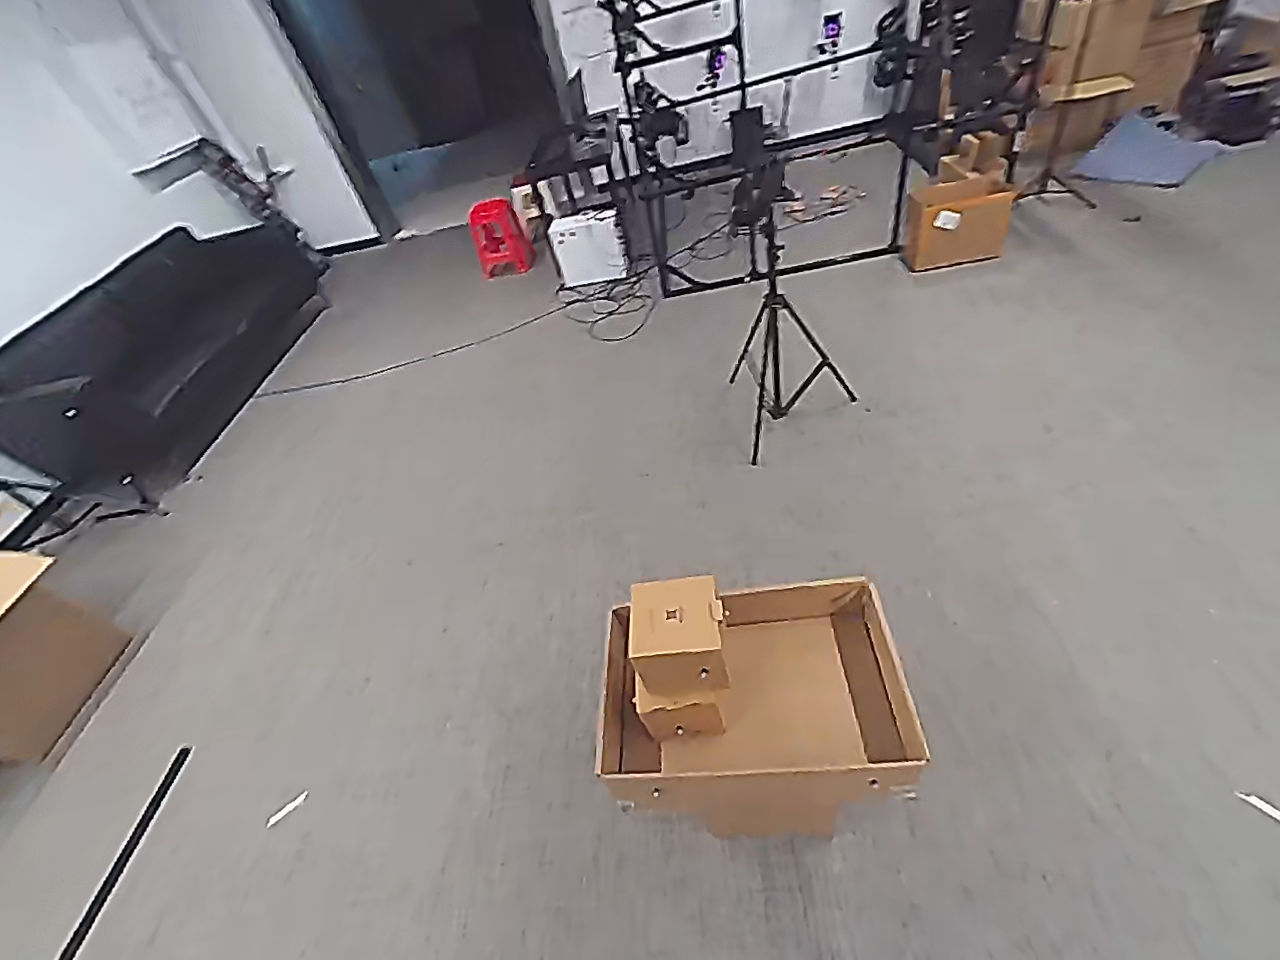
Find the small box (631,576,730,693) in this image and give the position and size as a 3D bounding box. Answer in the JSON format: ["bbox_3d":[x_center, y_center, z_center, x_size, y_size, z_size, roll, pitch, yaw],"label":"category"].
[{"bbox_3d":[0.086,0.315,1.093,0.179,0.176,0.168,-8,43,10],"label":"small box"}]

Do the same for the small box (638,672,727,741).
[{"bbox_3d":[0.091,0.449,1.195,0.168,0.176,0.179,-12,44,7],"label":"small box"}]
